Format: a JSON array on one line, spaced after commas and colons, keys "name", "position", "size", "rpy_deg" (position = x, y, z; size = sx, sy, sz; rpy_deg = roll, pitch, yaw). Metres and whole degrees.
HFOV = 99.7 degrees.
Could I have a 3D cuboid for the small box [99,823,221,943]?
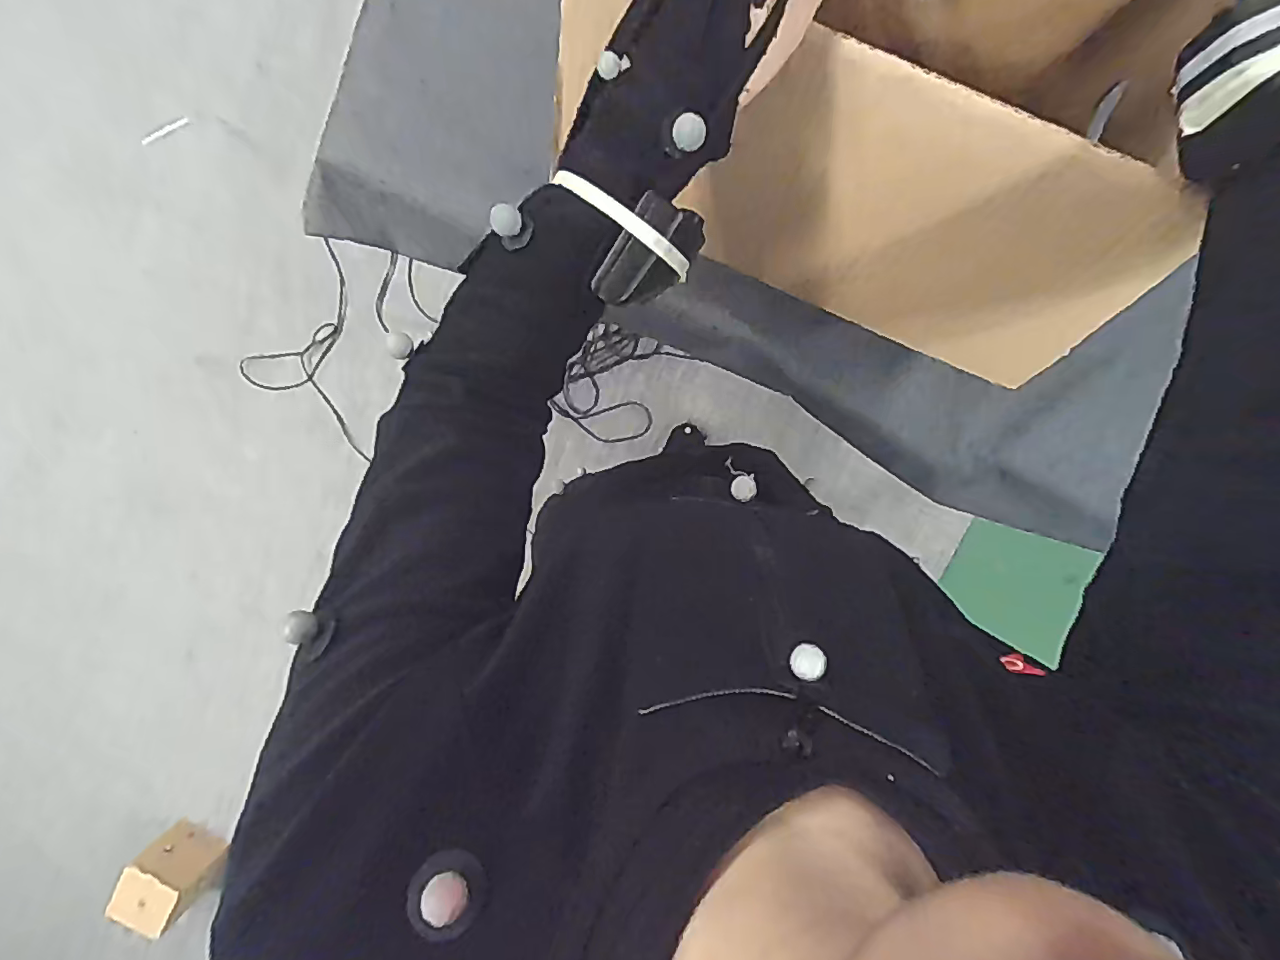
[{"name": "small box", "position": [-1.324, 1.110, 1.505], "size": [0.168, 0.176, 0.179], "rpy_deg": [29, 99, 0]}]
